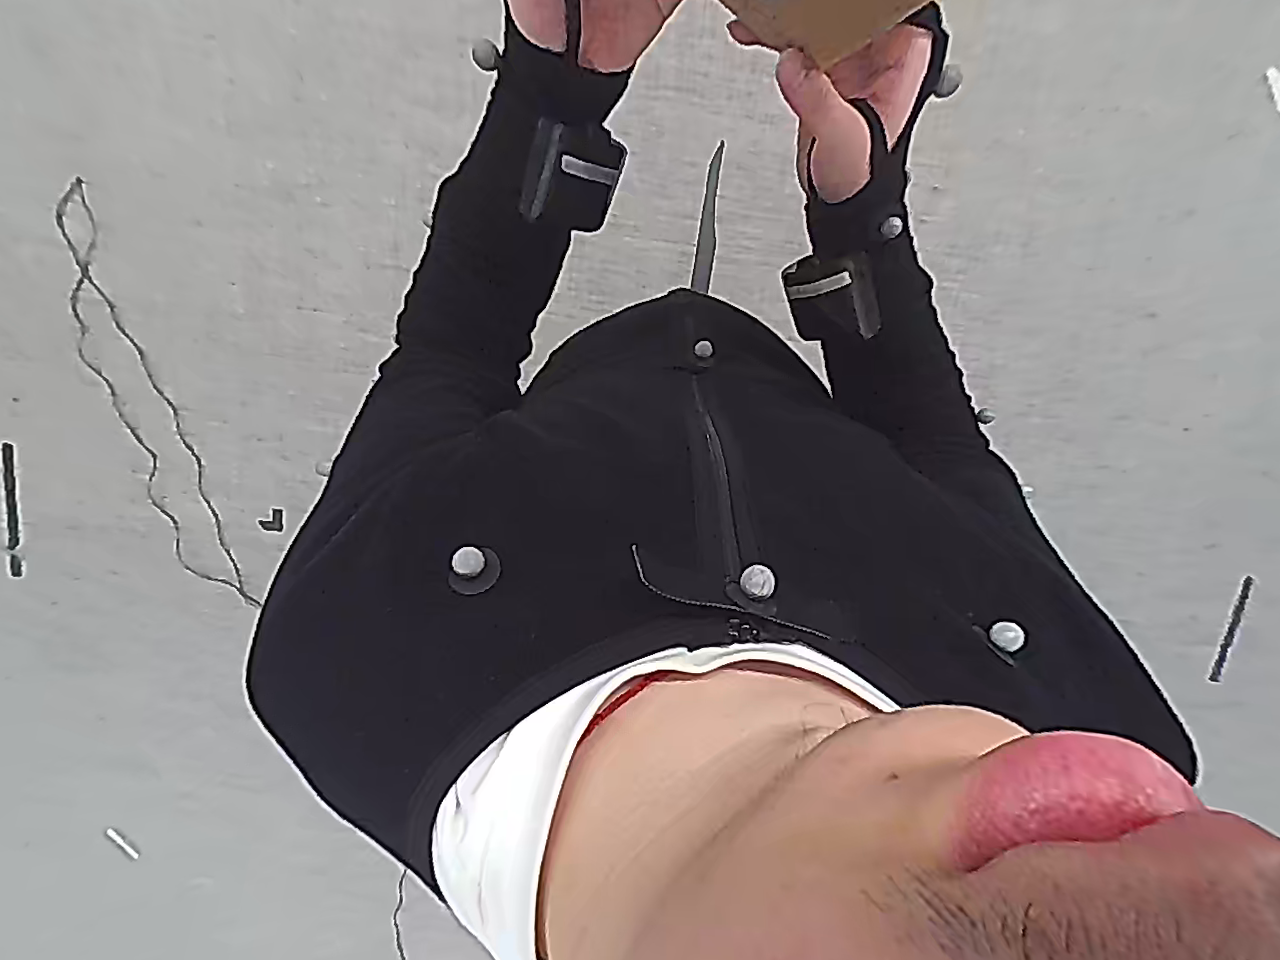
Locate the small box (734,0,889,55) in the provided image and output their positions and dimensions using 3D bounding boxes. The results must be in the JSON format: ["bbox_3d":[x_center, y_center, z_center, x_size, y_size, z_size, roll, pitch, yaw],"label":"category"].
[{"bbox_3d":[0.070,-0.286,0.170,0.168,0.176,0.179,27,113,-17],"label":"small box"}]
